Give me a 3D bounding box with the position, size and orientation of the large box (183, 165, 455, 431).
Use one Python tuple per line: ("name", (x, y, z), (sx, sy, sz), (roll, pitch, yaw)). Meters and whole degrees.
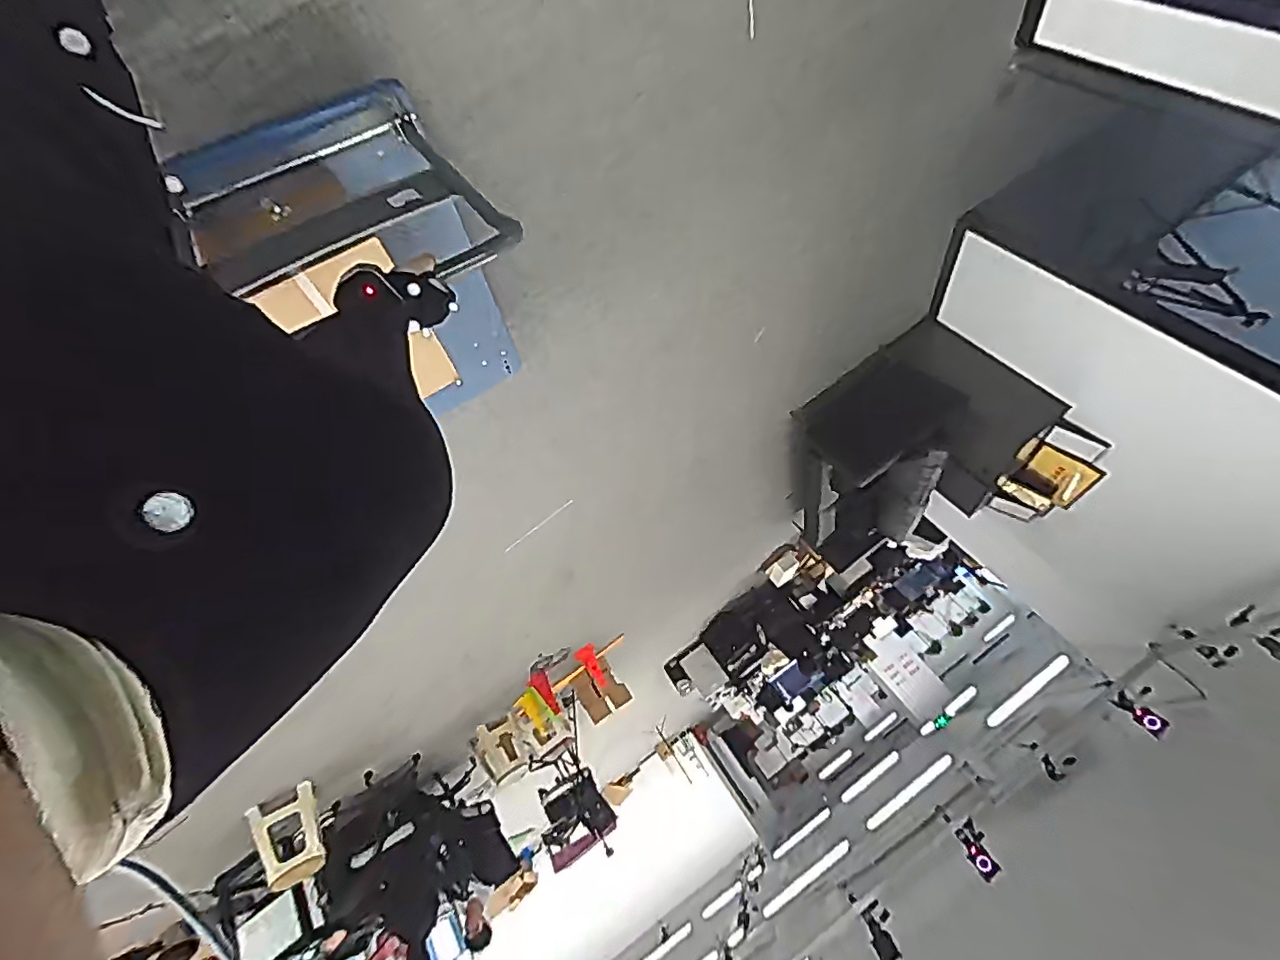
("large box", (-0.693, -0.395, 1.215), (0.320, 0.320, 0.408), (-33, 152, -12))
